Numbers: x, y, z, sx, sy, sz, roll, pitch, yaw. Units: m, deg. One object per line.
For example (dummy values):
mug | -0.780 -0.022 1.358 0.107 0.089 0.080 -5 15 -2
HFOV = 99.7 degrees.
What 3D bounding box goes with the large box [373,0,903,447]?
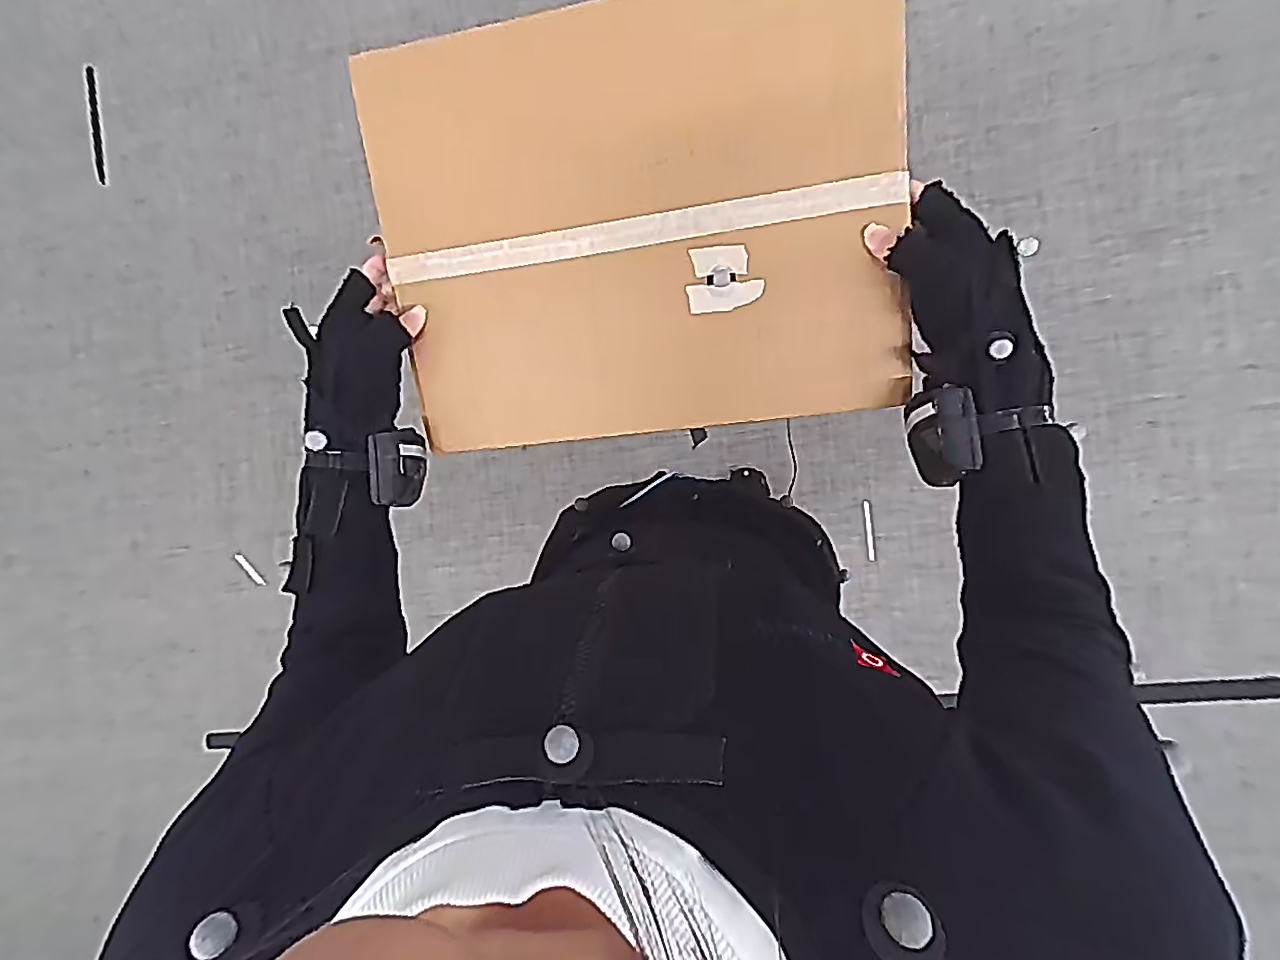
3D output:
large box | 0.015 -0.231 0.578 0.408 0.320 0.320 -6 103 9
